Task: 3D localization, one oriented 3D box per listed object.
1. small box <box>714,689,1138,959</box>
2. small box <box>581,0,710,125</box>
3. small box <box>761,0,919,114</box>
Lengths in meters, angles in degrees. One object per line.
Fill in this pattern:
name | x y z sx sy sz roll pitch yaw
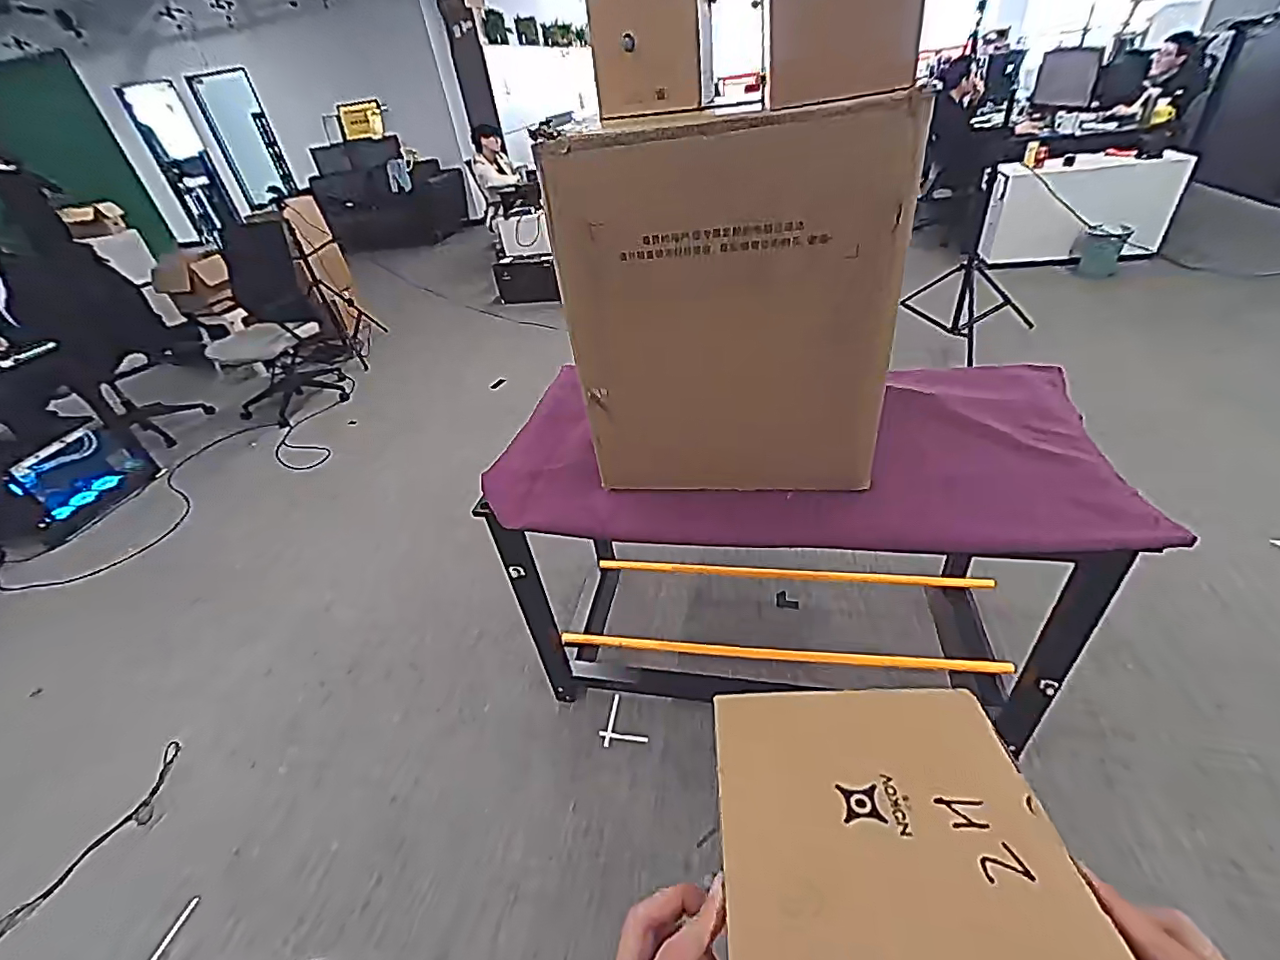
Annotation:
small box | 0.142 0.255 0.334 0.179 0.176 0.168 -4 25 7
small box | 0.021 -0.684 0.872 0.168 0.176 0.179 3 38 14
small box | 0.247 -0.583 0.690 0.179 0.176 0.168 -2 38 11
